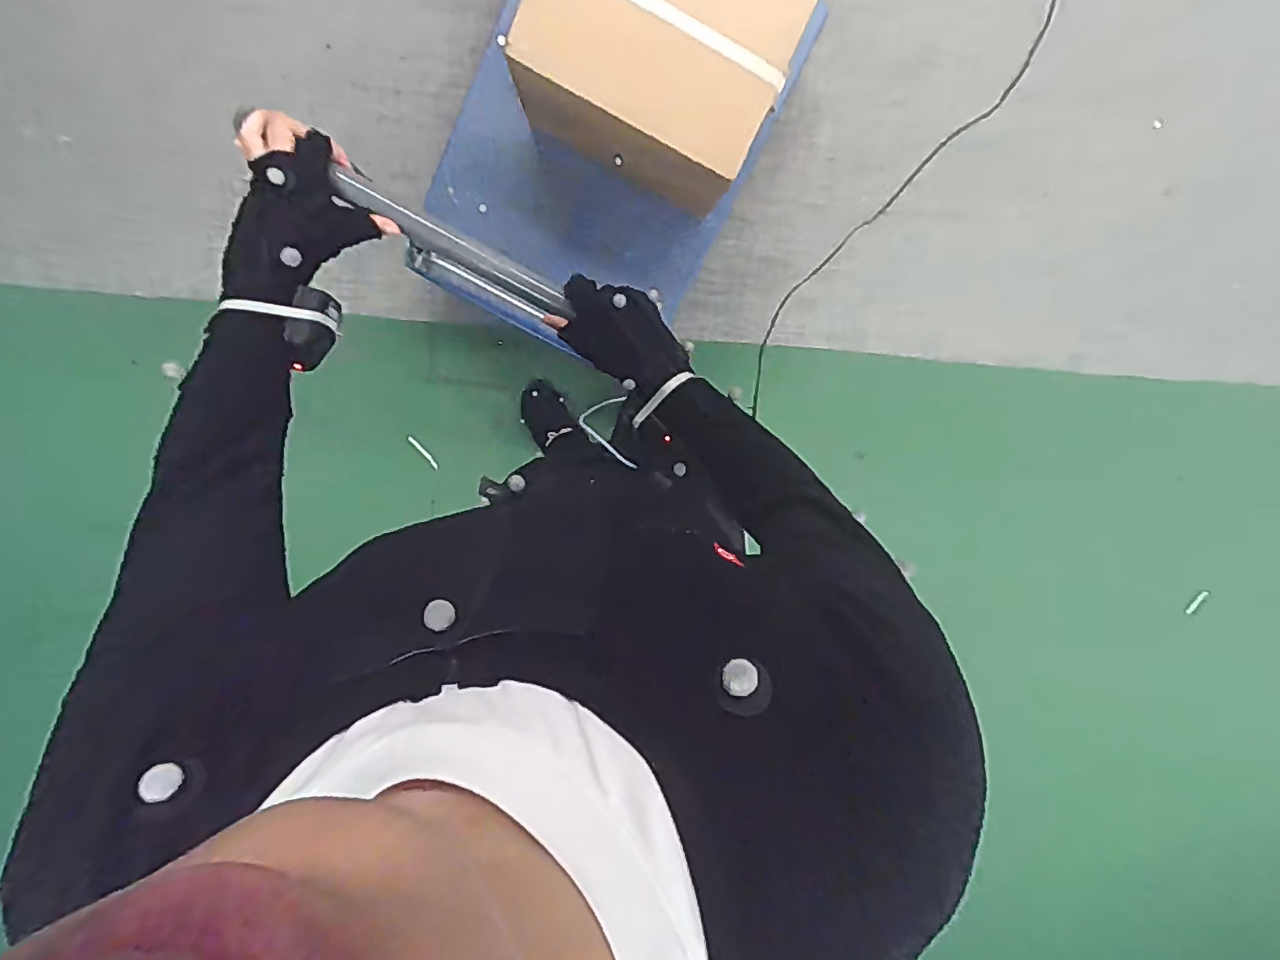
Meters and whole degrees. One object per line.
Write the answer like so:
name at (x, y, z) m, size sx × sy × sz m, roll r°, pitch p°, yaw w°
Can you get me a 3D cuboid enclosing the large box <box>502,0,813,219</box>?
large box at (0.026, -0.734, 0.970) m, size 0.408 × 0.320 × 0.320 m, roll 25°, pitch 101°, yaw -8°
